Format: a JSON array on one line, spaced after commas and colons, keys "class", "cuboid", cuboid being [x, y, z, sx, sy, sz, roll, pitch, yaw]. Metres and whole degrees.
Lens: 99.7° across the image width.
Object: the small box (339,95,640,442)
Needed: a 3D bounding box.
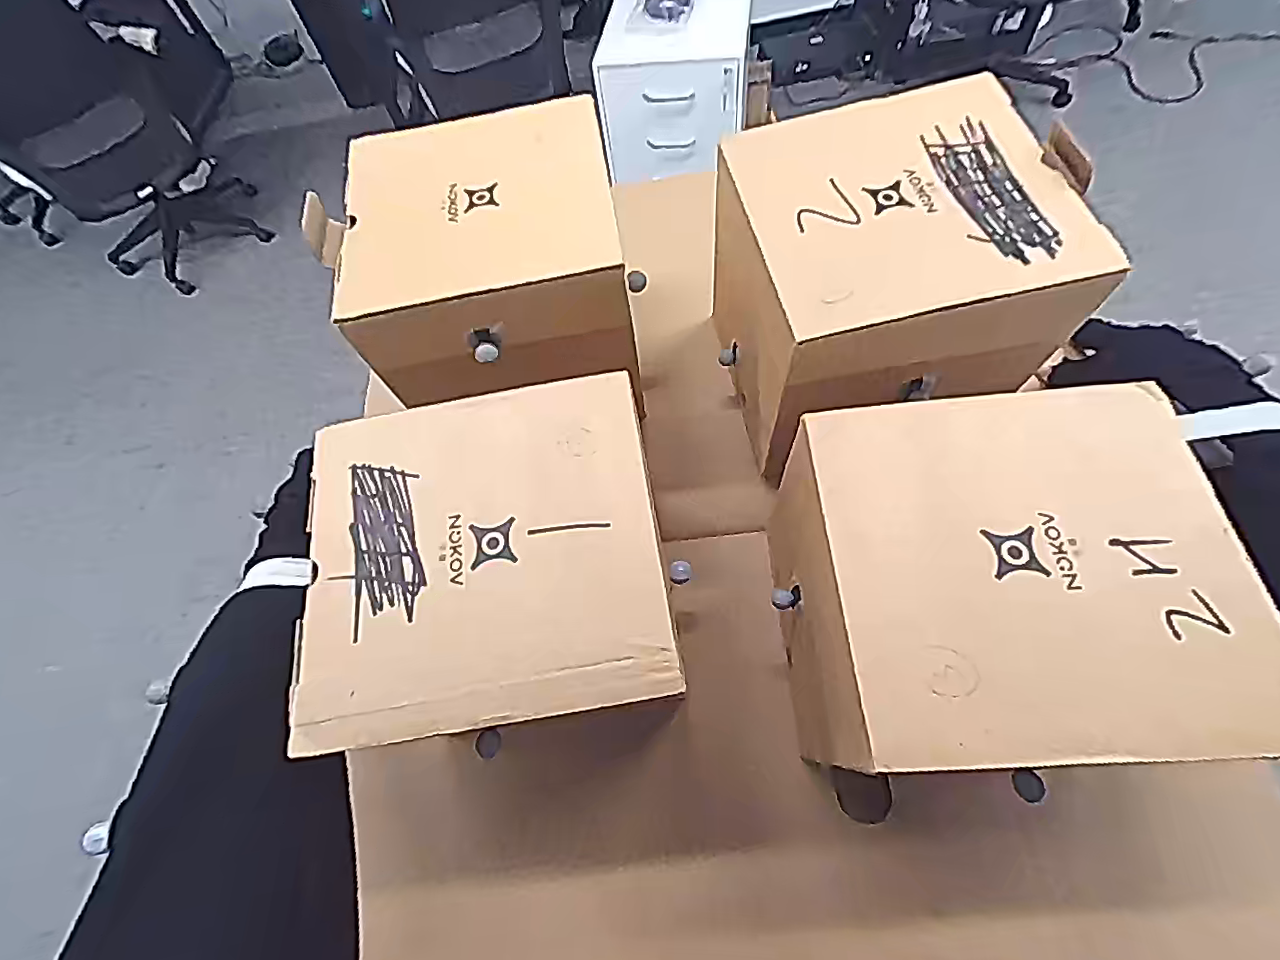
[{"class": "small box", "cuboid": [-0.100, -0.150, 0.425, 0.179, 0.176, 0.168, -12, 65, 3]}]
